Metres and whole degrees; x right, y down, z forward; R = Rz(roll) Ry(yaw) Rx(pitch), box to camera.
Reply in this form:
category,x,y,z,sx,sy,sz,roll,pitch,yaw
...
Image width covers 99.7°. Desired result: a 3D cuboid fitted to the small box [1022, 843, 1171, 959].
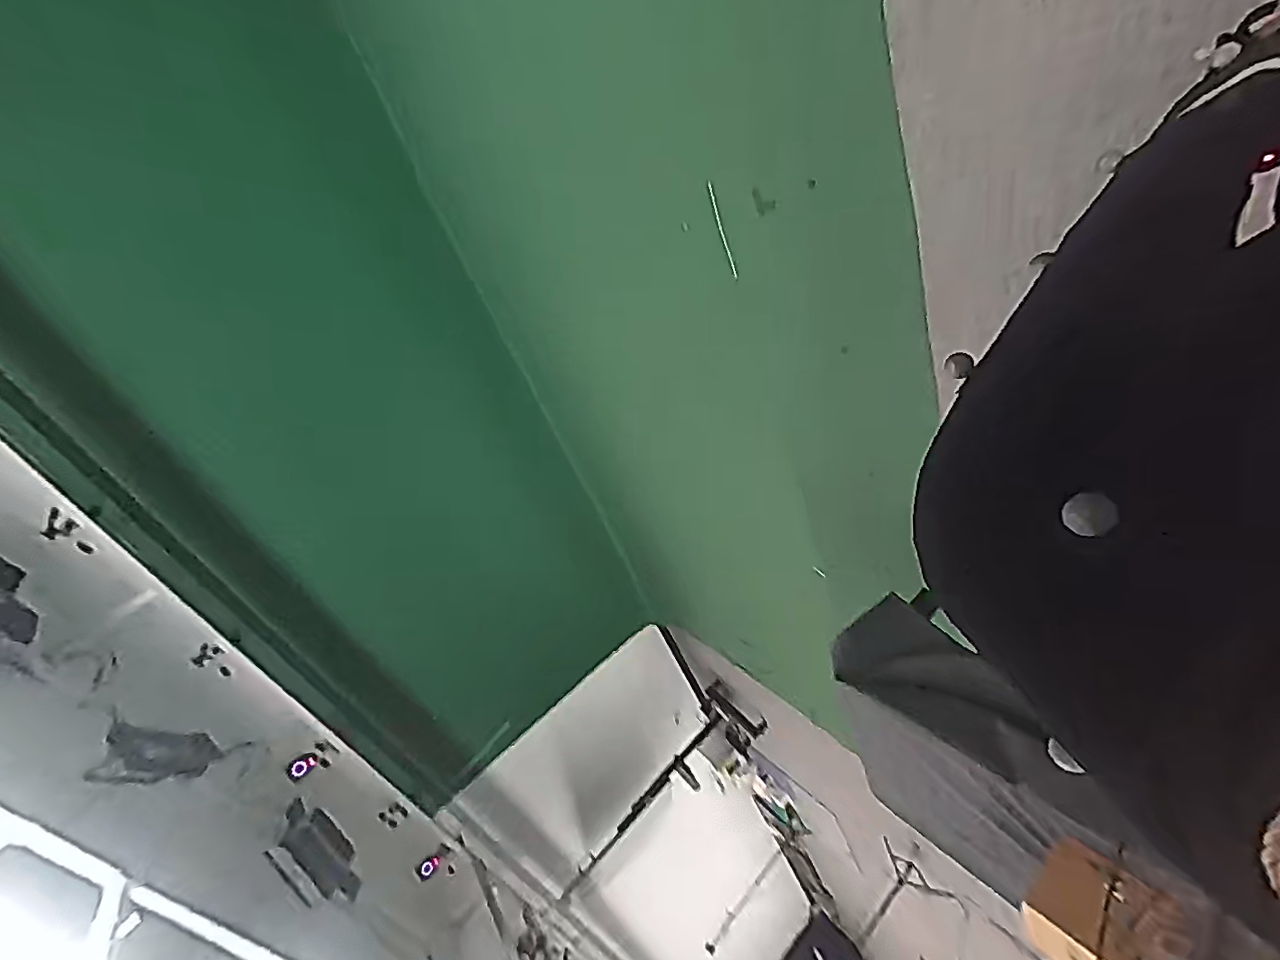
category,x,y,z,sx,sy,sz,roll,pitch,yaw
small box,0.835,0.827,0.996,0.168,0.176,0.179,21,142,51
